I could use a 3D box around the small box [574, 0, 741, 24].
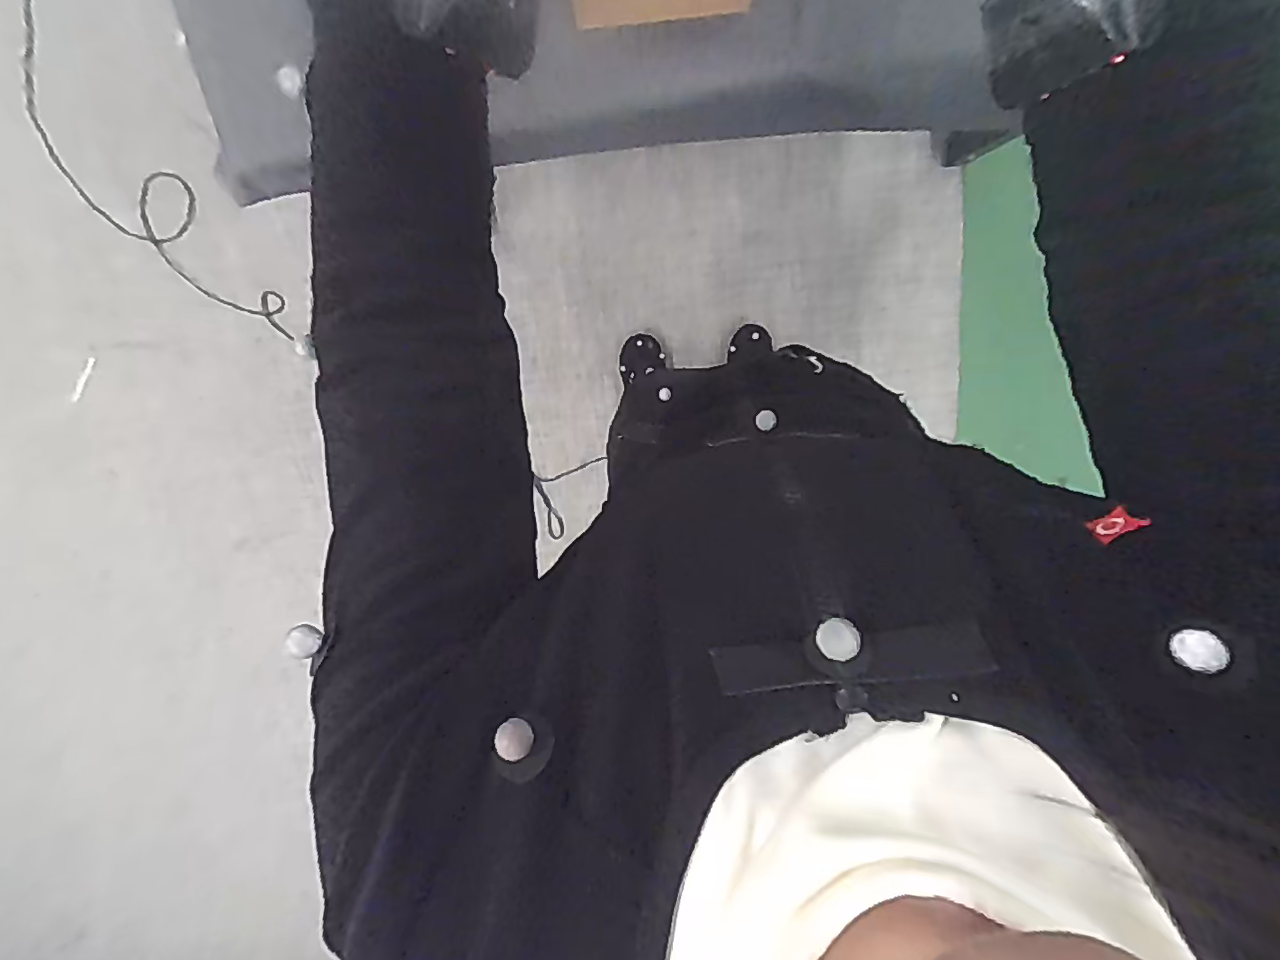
[{"bbox_3d":[0.014,-0.528,0.457,0.179,0.176,0.168,-4,105,2],"label":"small box"}]
